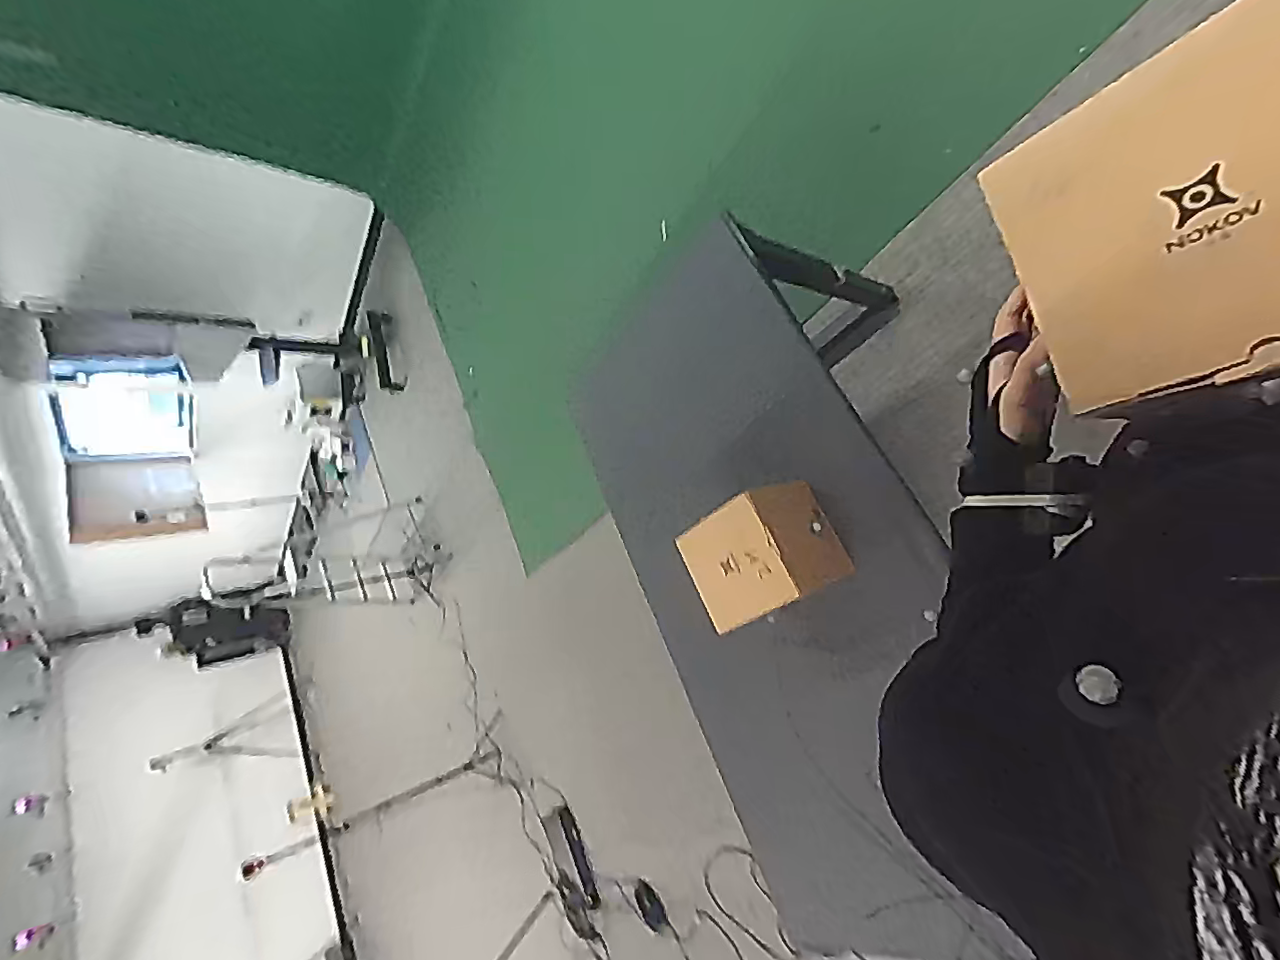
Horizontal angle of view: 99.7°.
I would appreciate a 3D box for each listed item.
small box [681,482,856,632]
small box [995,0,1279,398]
[{"bbox_3d":[0.205,0.119,0.868,0.179,0.176,0.168,-43,65,42],"label":"small box"},{"bbox_3d":[0.357,-0.158,0.328,0.168,0.176,0.179,-25,76,49],"label":"small box"}]
